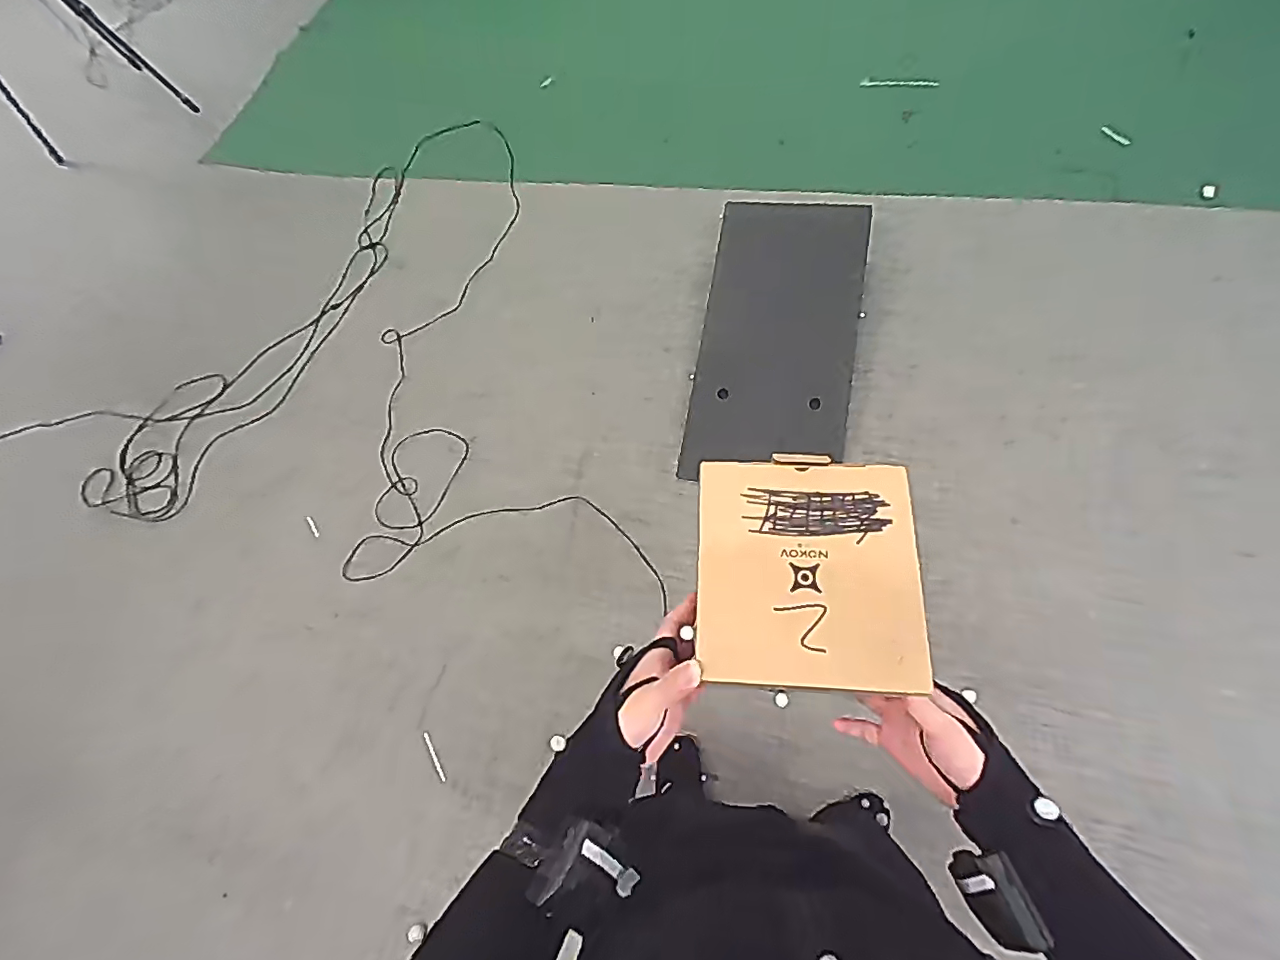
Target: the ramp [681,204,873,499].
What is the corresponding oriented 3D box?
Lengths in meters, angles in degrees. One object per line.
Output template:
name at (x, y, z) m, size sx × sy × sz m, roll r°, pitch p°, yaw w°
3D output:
ramp at (0.451, -0.450, 1.743) m, size 0.509 × 0.206 × 0.991 m, roll 7°, pitch 68°, yaw 12°
